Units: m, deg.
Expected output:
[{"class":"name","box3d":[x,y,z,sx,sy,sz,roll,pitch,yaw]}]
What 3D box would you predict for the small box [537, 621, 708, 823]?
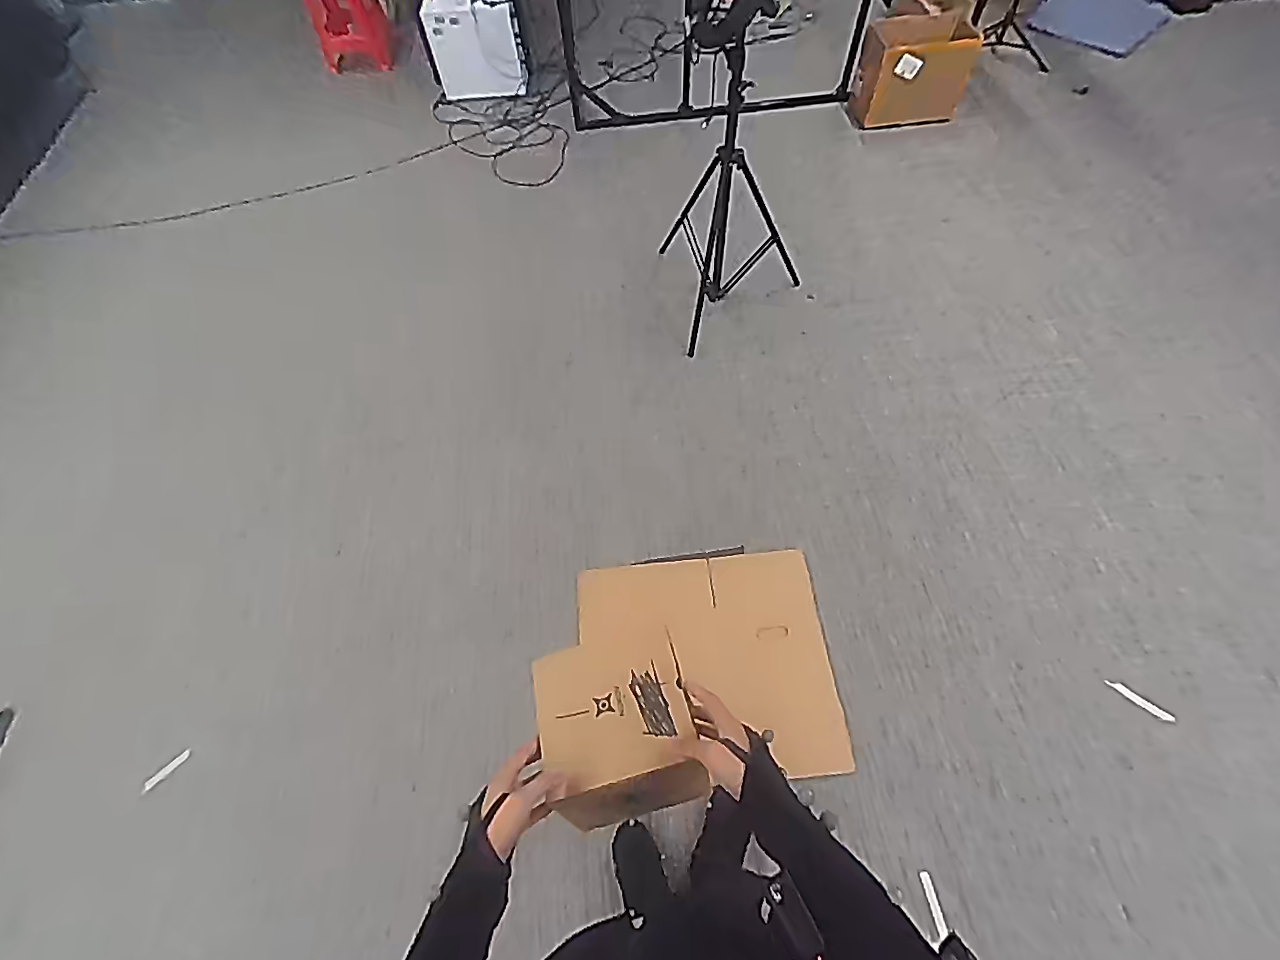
[{"class":"small box","box3d":[-0.017,0.309,0.685,0.179,0.176,0.168,-16,47,-2]}]
